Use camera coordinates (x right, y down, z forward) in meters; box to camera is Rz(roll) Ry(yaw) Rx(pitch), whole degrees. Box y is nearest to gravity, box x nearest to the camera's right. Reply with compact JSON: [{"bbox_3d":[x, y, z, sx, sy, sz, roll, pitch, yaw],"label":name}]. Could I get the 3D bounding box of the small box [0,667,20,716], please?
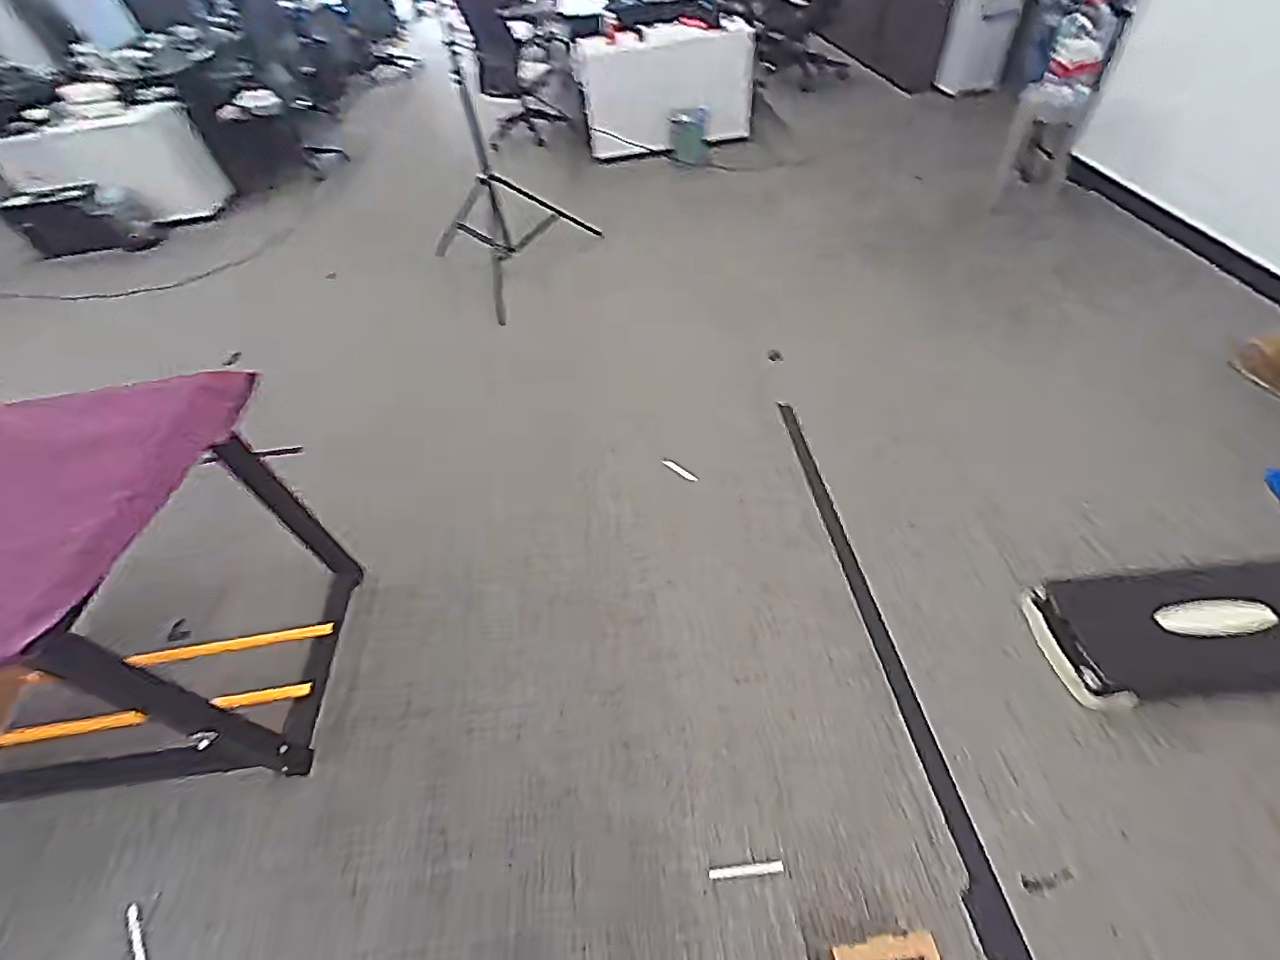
[{"bbox_3d":[-1.672,0.532,1.290,0.168,0.176,0.179,-10,51,-1],"label":"small box"}]
